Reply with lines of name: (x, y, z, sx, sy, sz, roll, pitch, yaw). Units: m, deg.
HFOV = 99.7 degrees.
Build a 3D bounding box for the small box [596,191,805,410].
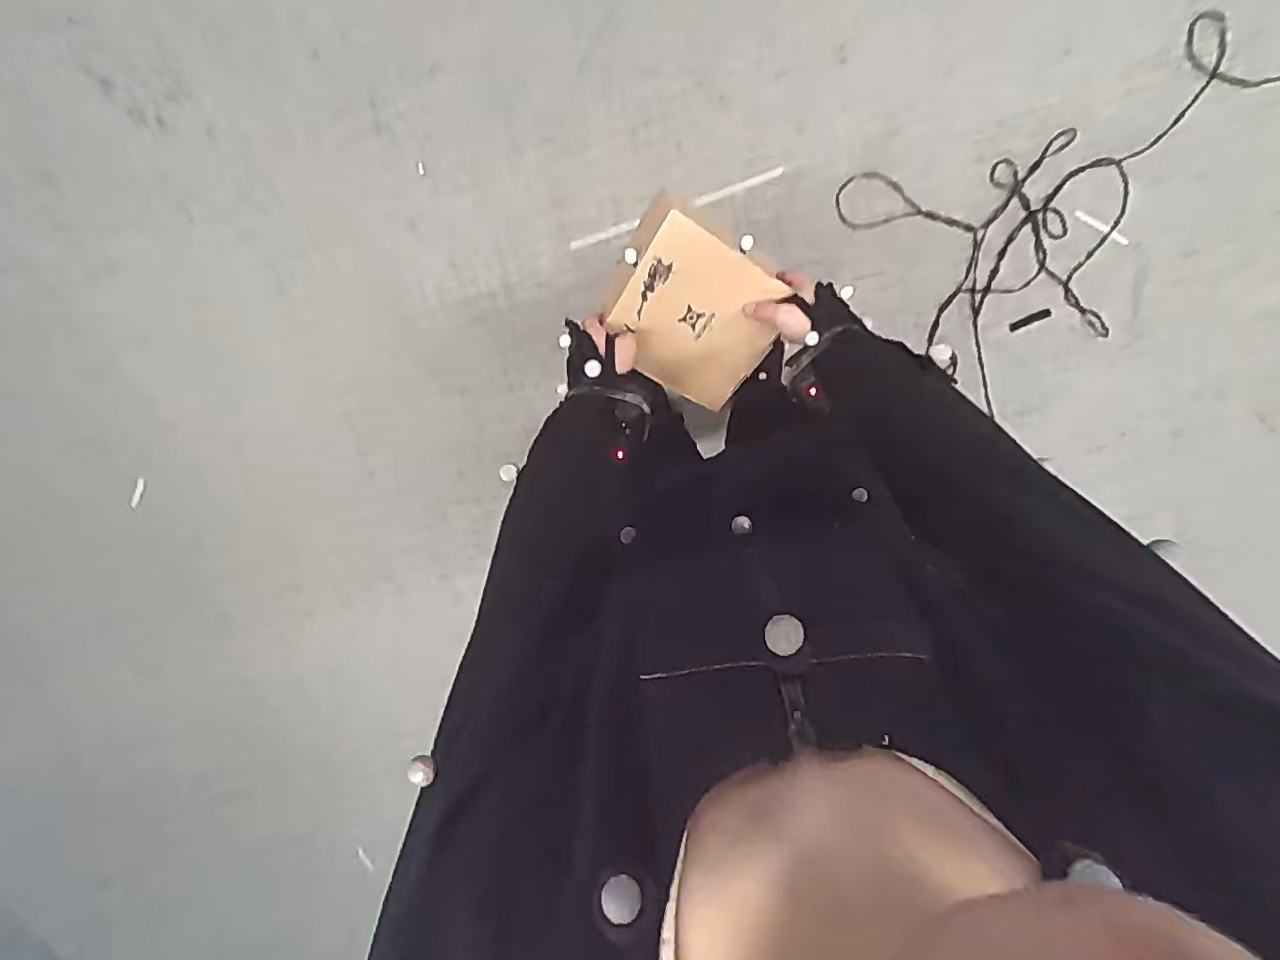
small box: (0.062, -0.222, 0.656, 0.179, 0.176, 0.168, 26, 120, -19)
